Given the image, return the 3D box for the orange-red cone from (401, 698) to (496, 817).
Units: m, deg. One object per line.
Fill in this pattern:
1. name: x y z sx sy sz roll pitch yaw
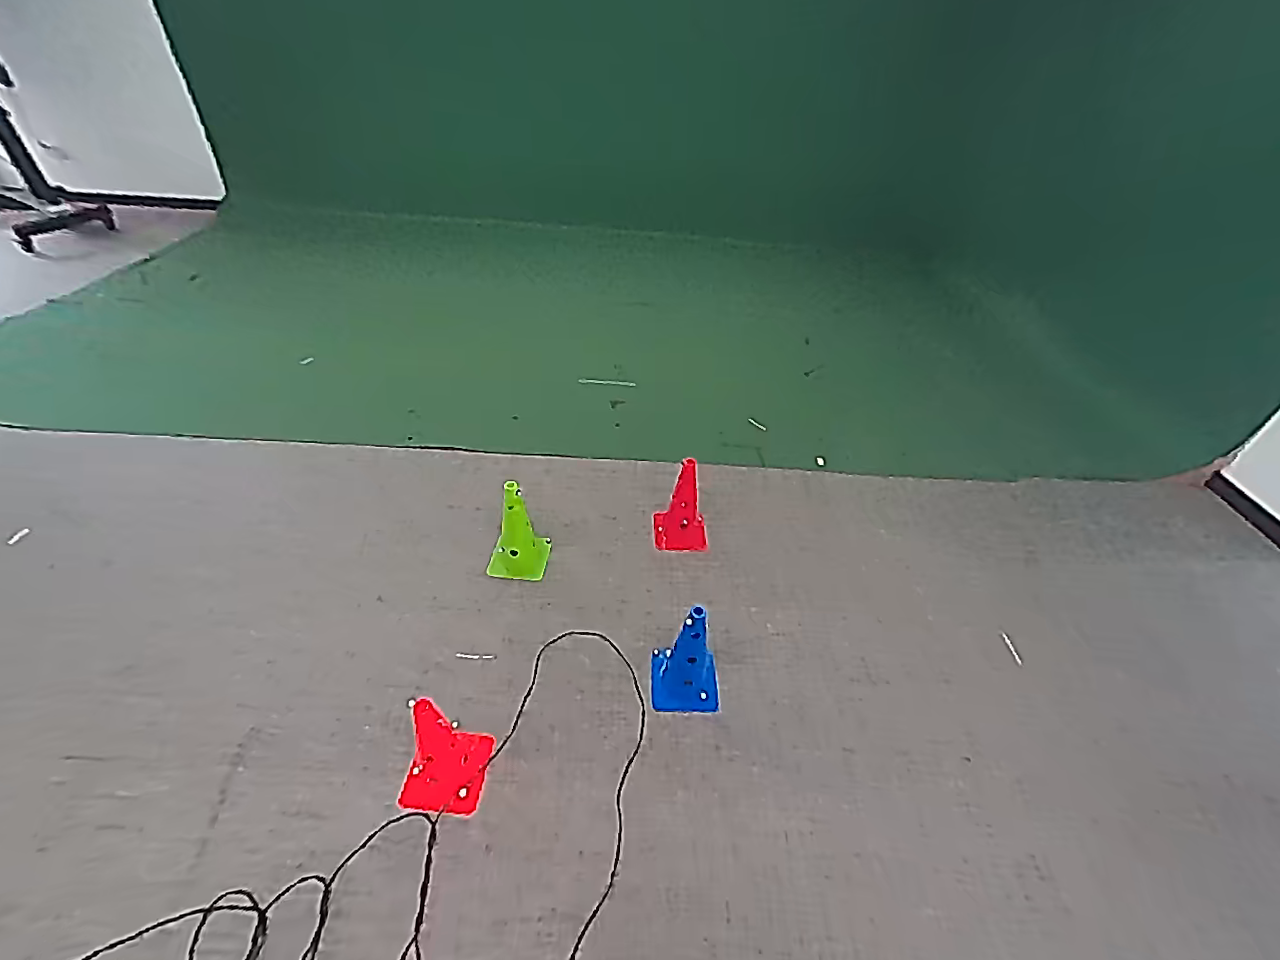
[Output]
1. orange-red cone: -0.482 0.627 1.297 0.198 0.360 0.199 7 39 1

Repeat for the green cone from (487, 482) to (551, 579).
1. green cone: -0.428 0.147 1.847 0.200 0.368 0.202 4 42 1
